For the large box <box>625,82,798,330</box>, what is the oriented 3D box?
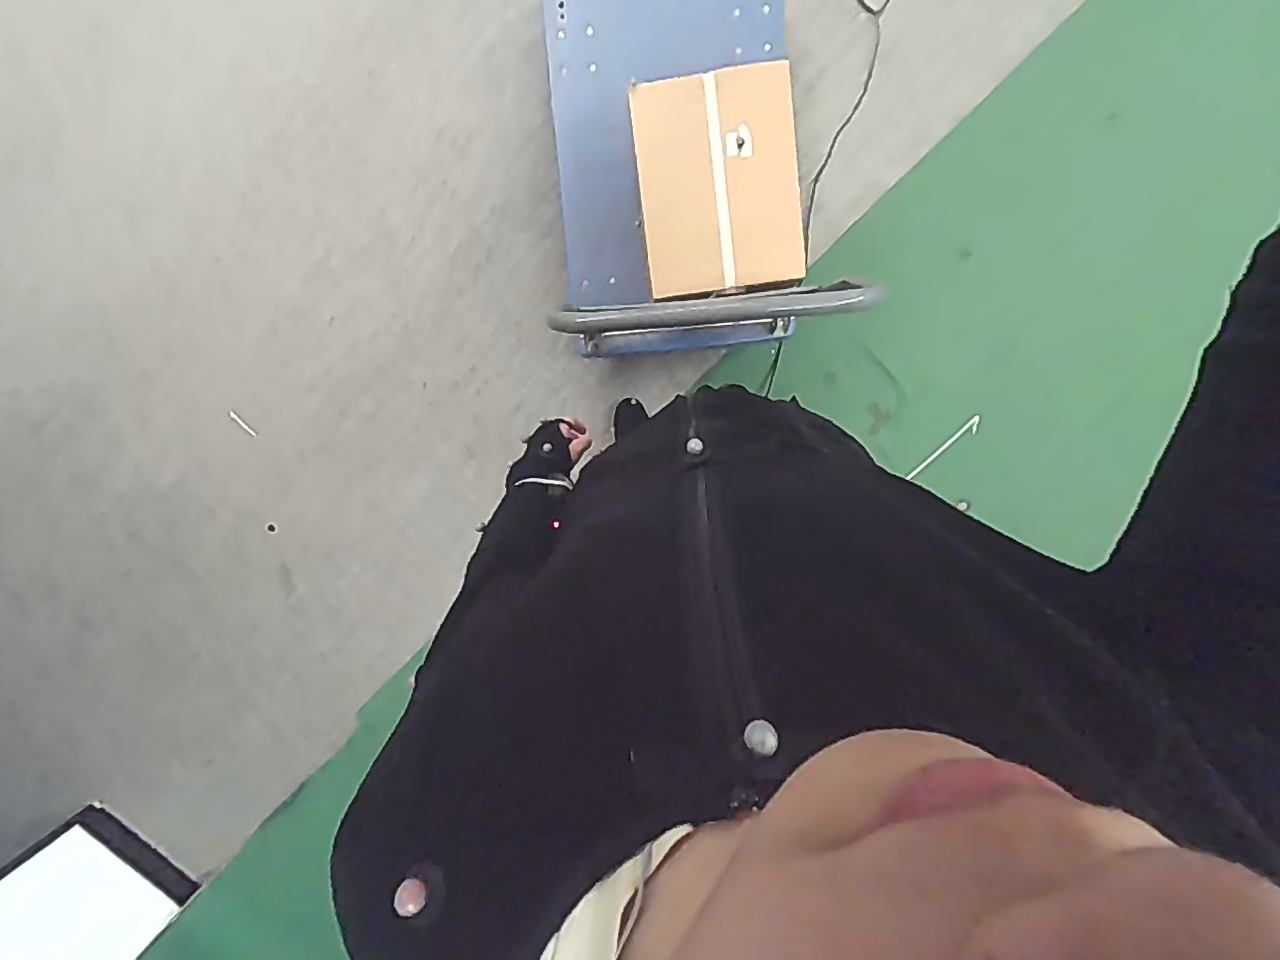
[{"bbox_3d":[0.154,-0.590,1.244,0.320,0.320,0.408,-7,97,2],"label":"large box"}]
